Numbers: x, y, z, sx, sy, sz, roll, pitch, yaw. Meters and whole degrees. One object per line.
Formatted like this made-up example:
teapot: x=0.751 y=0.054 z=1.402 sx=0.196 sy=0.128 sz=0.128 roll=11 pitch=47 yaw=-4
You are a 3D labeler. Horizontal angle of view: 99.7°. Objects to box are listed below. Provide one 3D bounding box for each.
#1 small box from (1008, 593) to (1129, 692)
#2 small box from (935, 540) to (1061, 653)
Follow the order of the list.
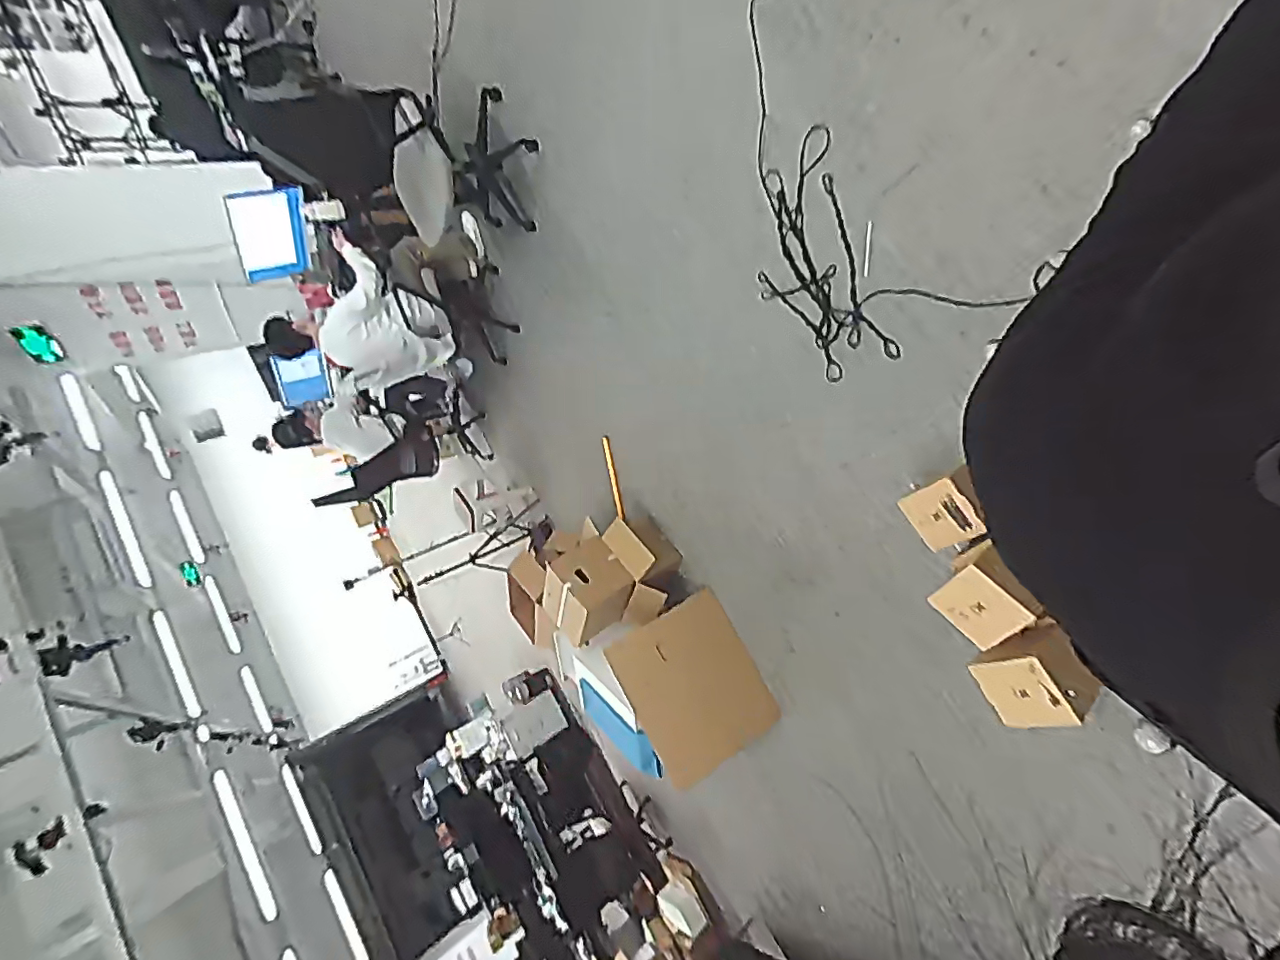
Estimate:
small box: x=1.077 y=0.406 z=1.370 sx=0.179 sy=0.176 sz=0.168 roll=58 pitch=147 yaw=11
small box: x=0.860 y=0.273 z=1.294 sx=0.168 sy=0.176 sz=0.179 roll=48 pitch=144 yaw=25
